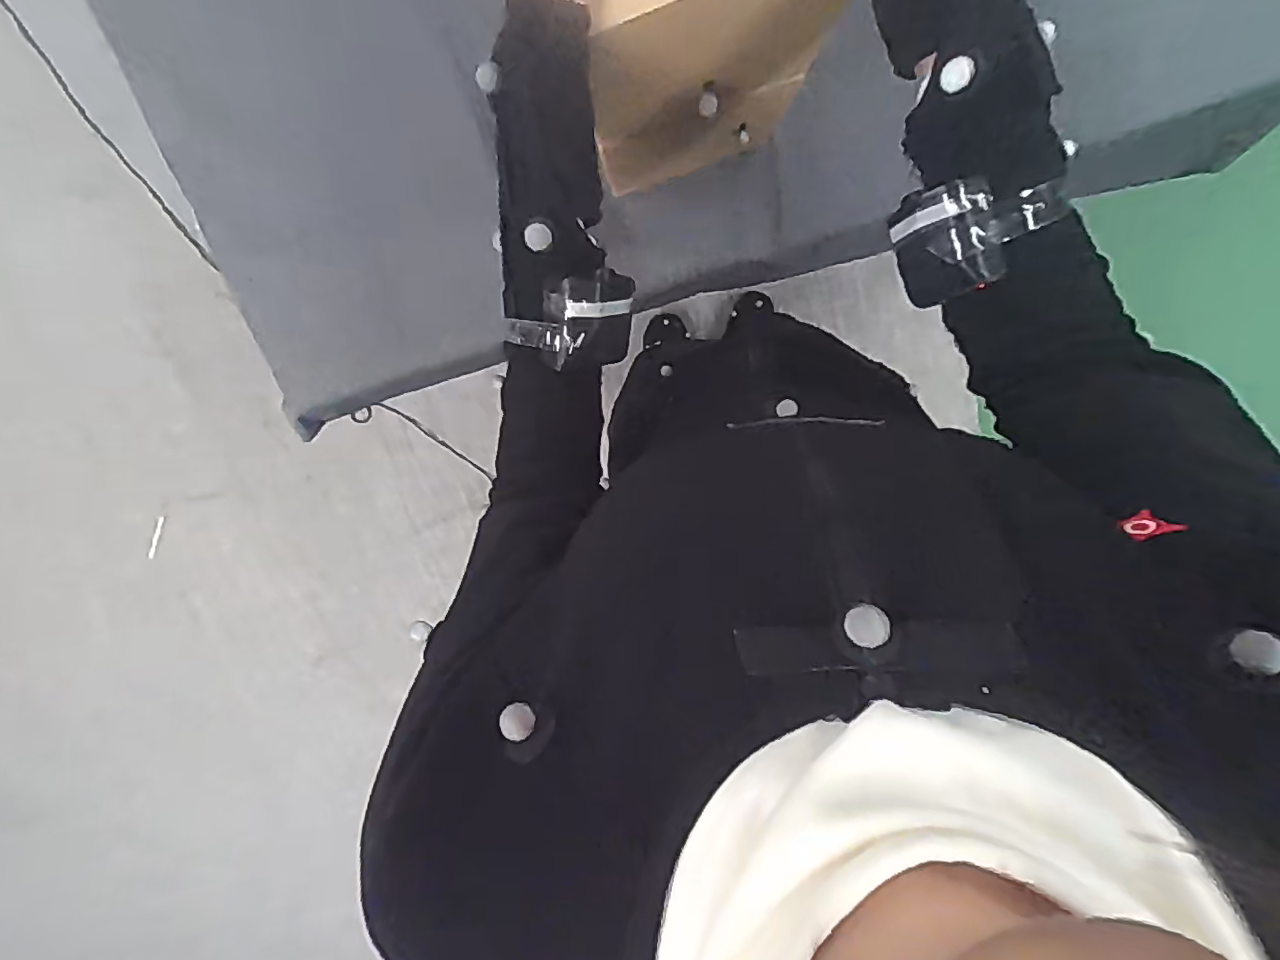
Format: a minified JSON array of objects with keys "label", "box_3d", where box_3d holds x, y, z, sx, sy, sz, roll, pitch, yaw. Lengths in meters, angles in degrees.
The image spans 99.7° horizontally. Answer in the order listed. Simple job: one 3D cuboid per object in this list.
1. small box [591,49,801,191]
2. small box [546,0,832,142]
[{"label":"small box","box_3d":[0.025,-0.395,0.494,0.179,0.176,0.168,-18,103,7]},{"label":"small box","box_3d":[0.019,-0.351,0.339,0.179,0.176,0.168,-19,104,7]}]
